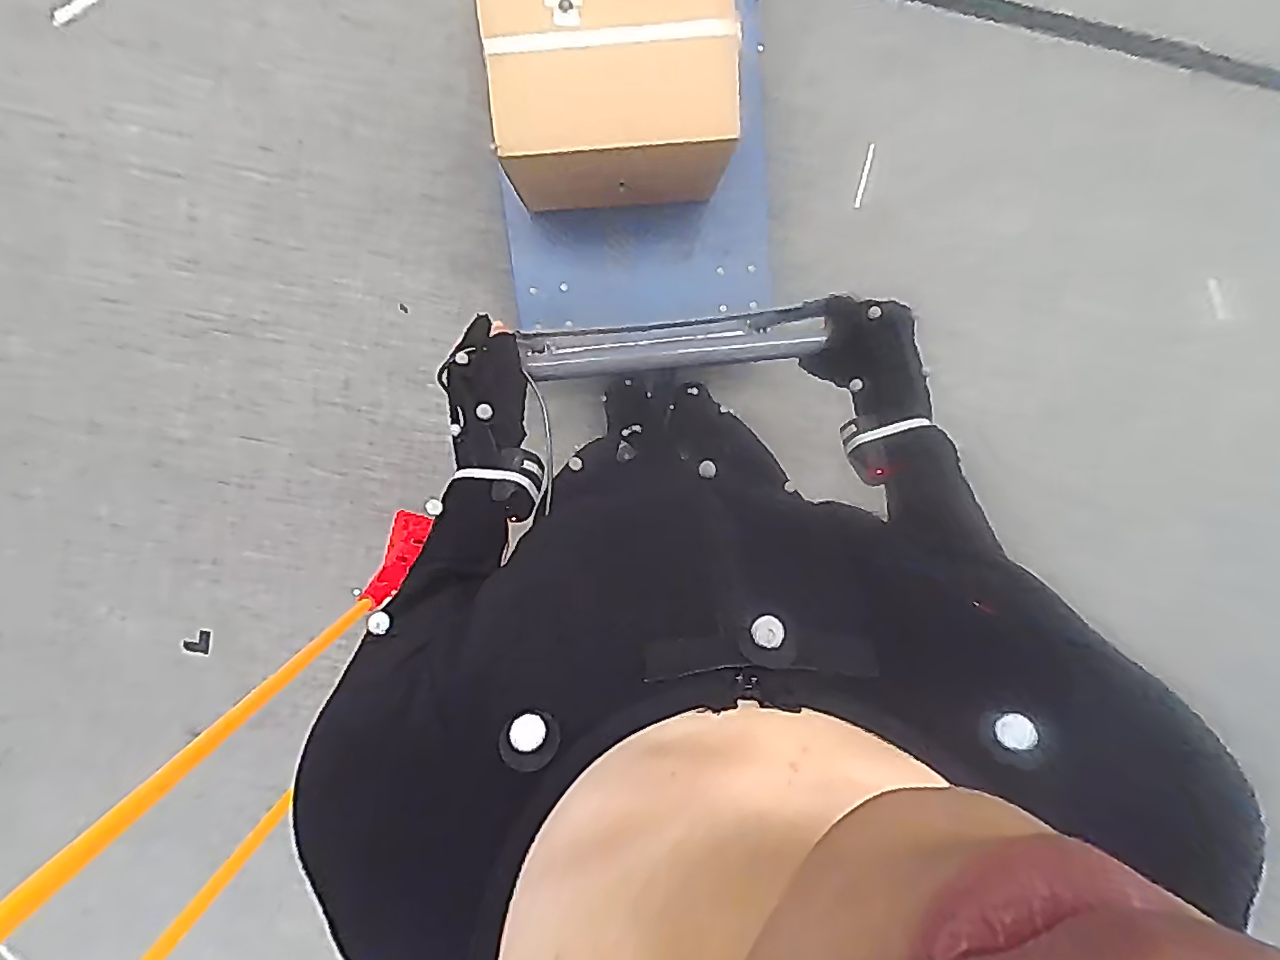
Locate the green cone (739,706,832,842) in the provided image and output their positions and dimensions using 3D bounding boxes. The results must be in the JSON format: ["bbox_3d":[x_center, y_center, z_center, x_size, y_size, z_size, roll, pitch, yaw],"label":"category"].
[{"bbox_3d":[0.422,0.814,1.459,0.202,0.368,0.200,15,100,-6],"label":"green cone"}]

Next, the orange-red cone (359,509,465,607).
[{"bbox_3d":[-0.586,0.220,1.313,0.198,0.360,0.199,18,98,-6],"label":"orange-red cone"}]

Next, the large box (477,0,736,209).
[{"bbox_3d":[-0.054,-0.725,1.007,0.408,0.320,0.320,-5,101,0],"label":"large box"}]
